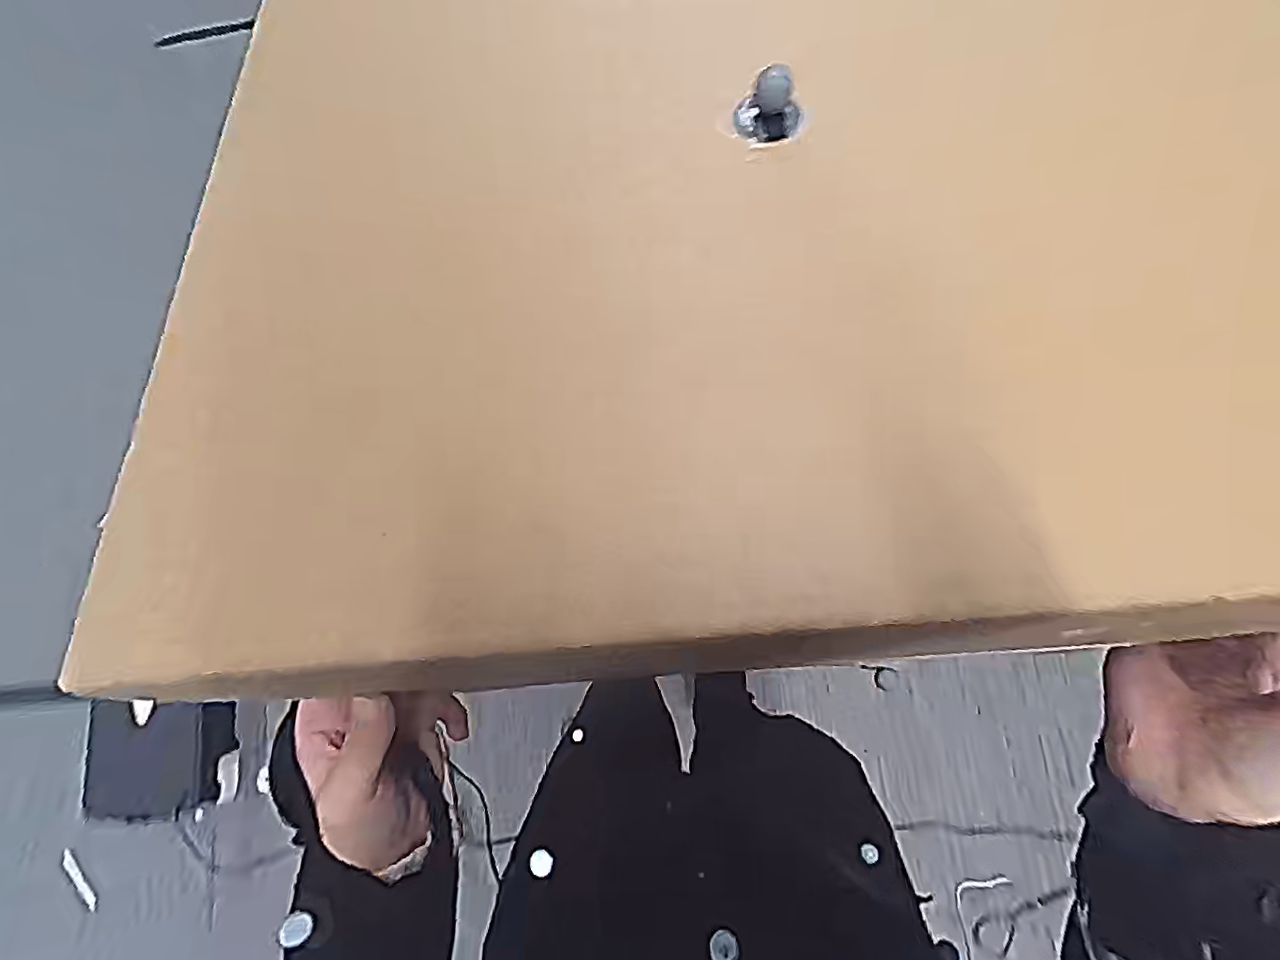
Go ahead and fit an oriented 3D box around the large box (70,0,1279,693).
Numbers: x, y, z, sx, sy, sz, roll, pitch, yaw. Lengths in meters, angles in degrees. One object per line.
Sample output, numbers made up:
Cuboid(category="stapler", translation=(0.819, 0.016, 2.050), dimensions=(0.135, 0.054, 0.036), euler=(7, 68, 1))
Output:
Cuboid(category="large box", translation=(0.040, -0.063, 0.320), dimensions=(0.408, 0.320, 0.320), euler=(-8, 70, 3))
